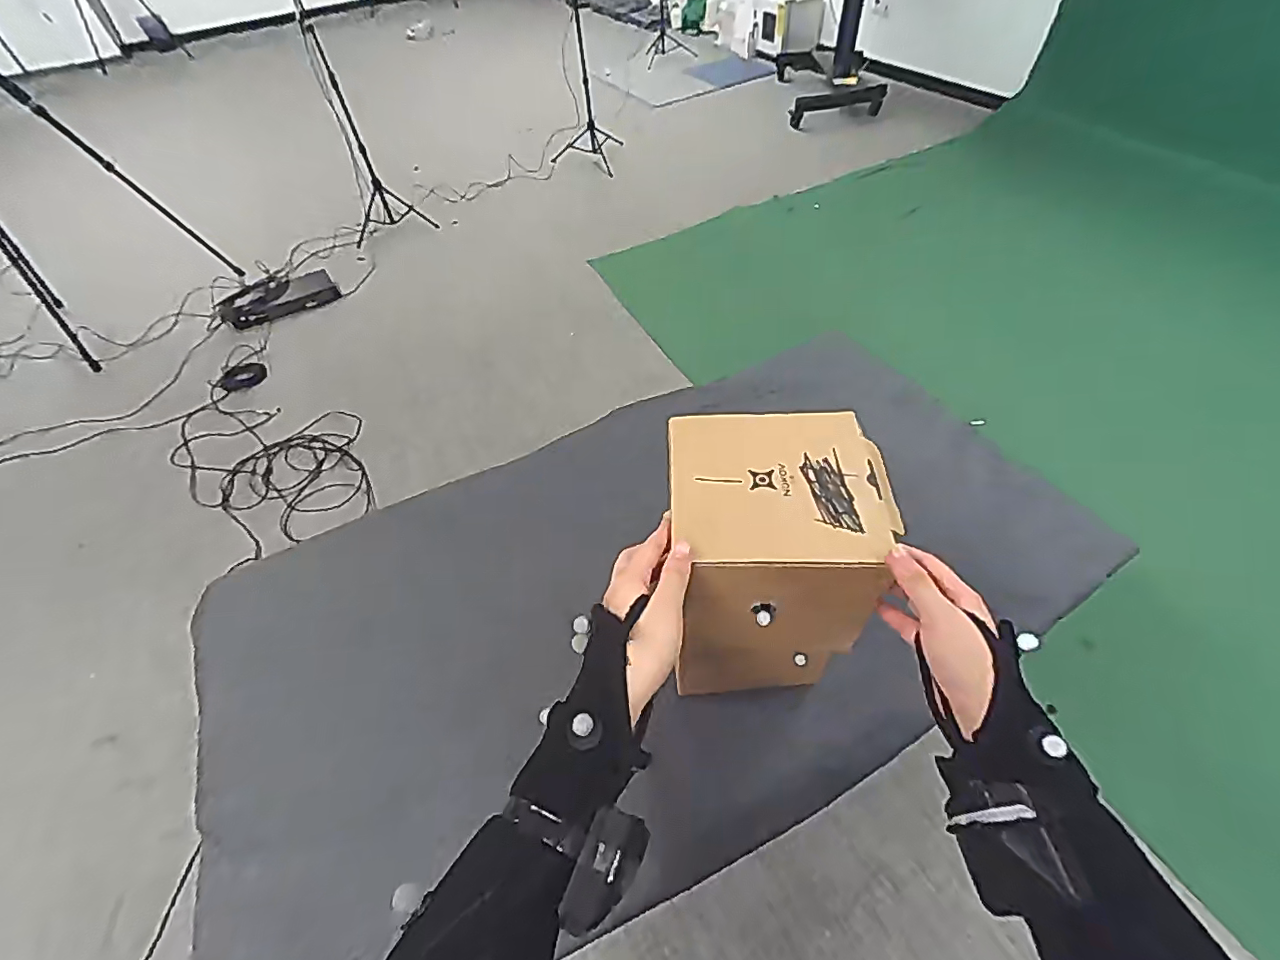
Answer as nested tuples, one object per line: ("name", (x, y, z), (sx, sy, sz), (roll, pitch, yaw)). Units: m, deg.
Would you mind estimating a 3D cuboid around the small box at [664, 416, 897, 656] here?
("small box", (0.112, 0.057, 0.515), (0.179, 0.176, 0.168), (0, 51, 4))
